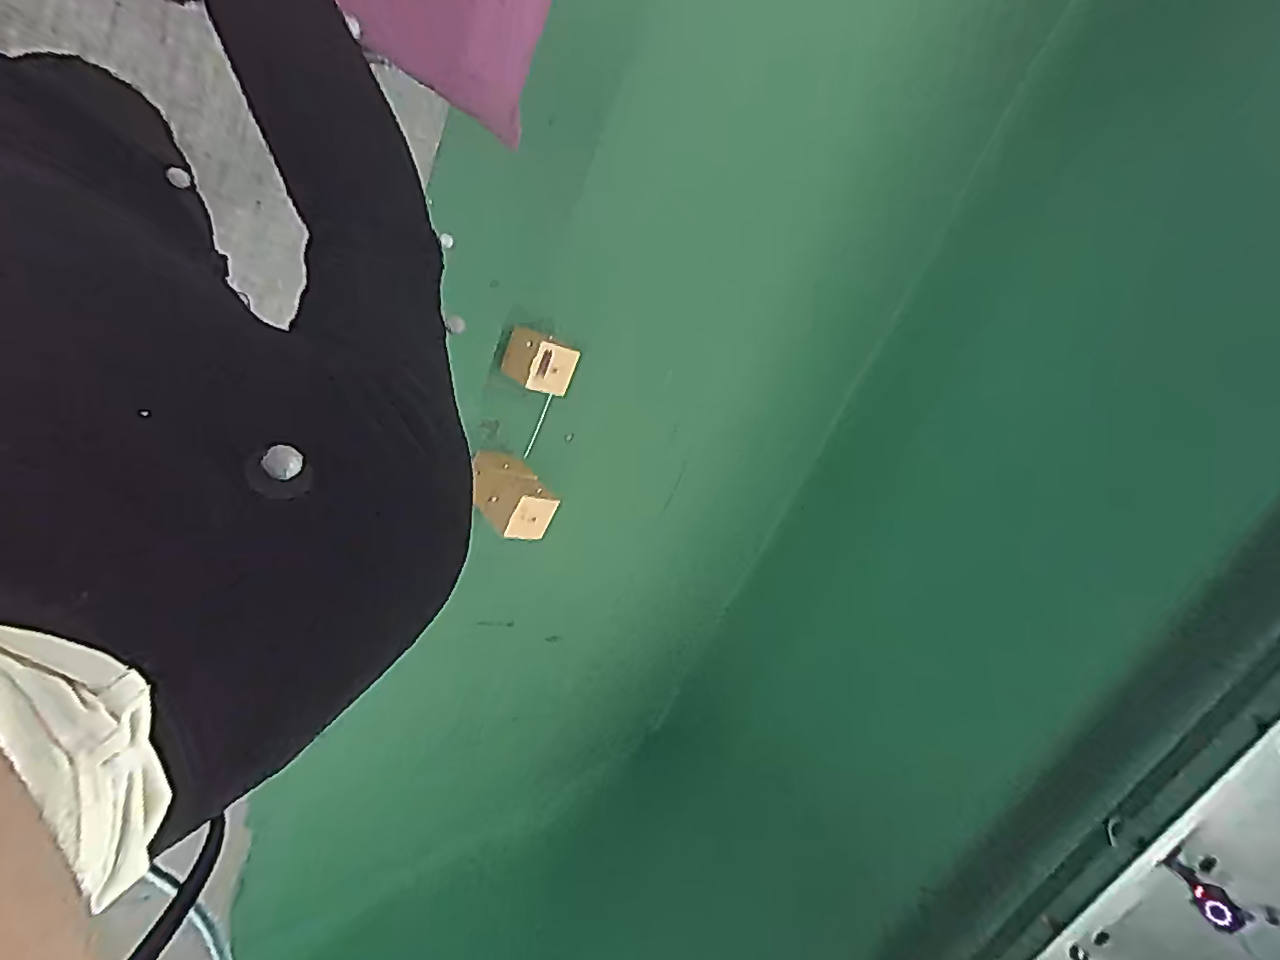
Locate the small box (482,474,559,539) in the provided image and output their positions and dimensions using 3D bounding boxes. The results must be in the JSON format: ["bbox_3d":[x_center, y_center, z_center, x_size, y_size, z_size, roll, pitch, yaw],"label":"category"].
[{"bbox_3d":[-0.431,0.094,1.933,0.179,0.176,0.168,12,110,-50],"label":"small box"}]

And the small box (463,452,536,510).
[{"bbox_3d":[-0.531,0.009,2.032,0.179,0.176,0.168,10,113,-50],"label":"small box"}]
